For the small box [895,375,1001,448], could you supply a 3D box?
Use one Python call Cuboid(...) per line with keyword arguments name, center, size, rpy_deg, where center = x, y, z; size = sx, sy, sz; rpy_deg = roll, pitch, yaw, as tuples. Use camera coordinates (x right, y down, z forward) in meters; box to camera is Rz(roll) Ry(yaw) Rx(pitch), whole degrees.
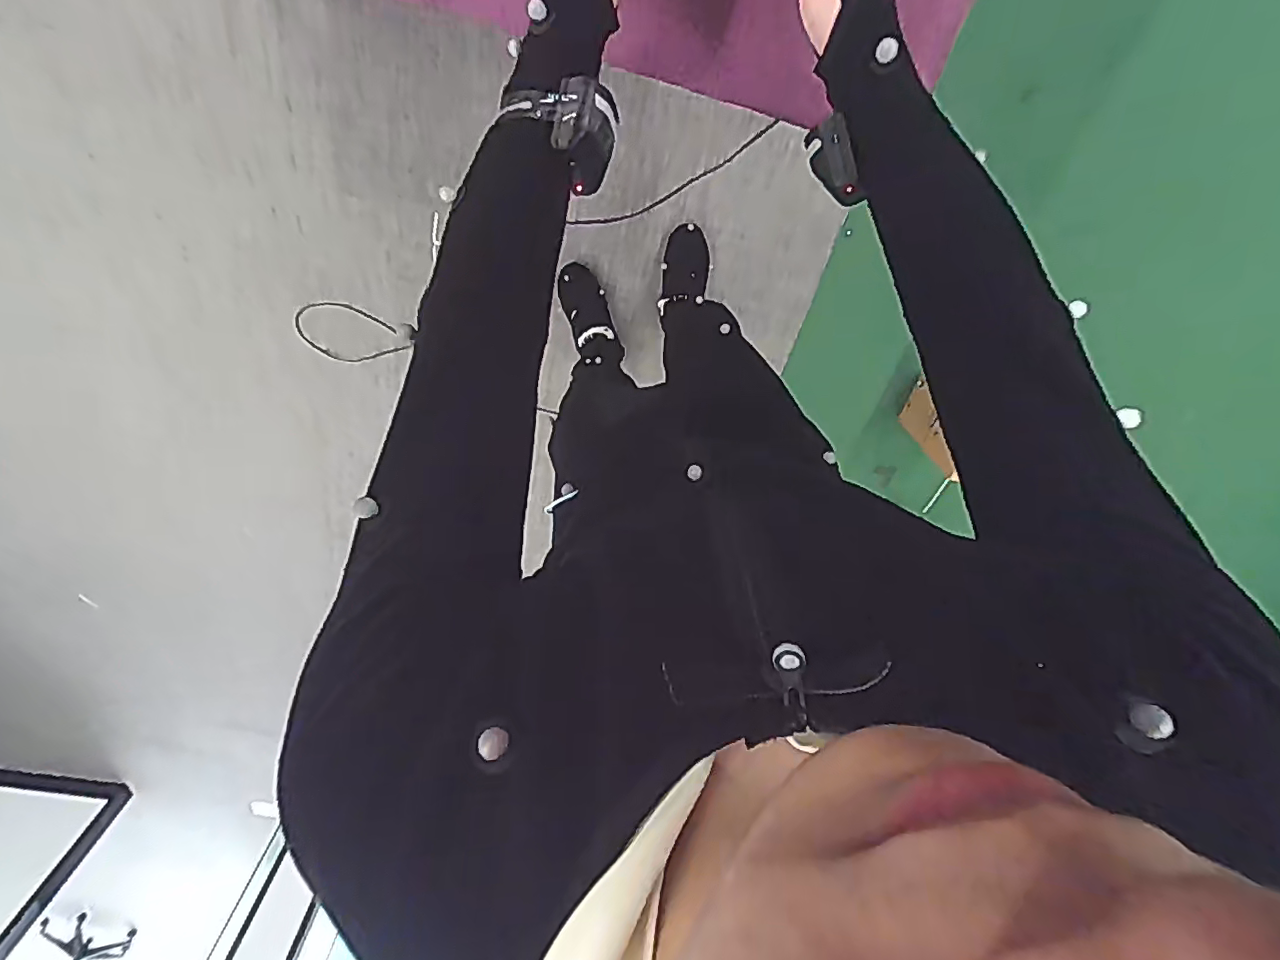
Cuboid(name="small box", center=(0.861, -0.183, 1.535), size=(0.179, 0.176, 0.168), rpy_deg=(10, 122, -6))
